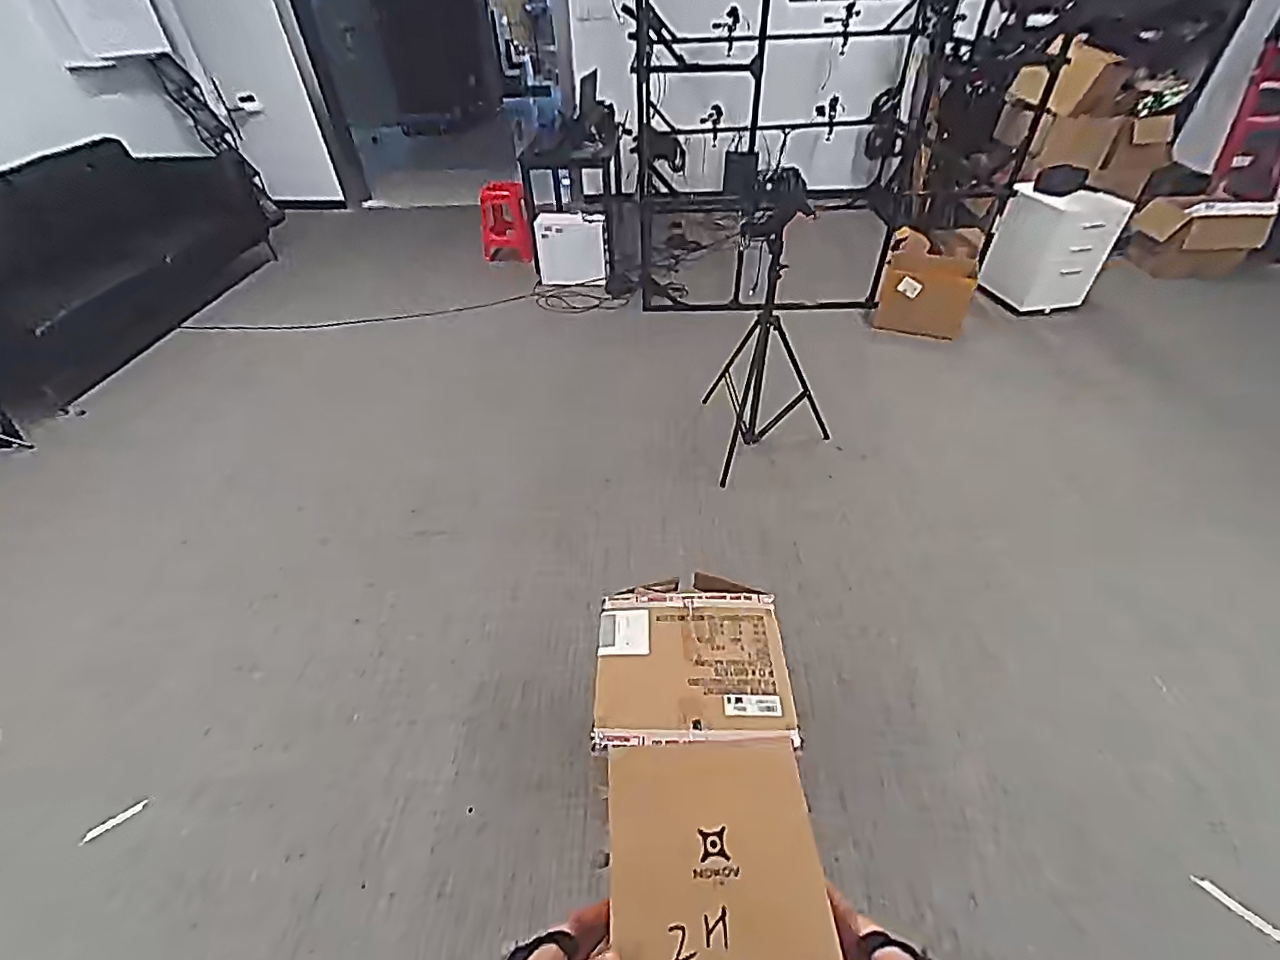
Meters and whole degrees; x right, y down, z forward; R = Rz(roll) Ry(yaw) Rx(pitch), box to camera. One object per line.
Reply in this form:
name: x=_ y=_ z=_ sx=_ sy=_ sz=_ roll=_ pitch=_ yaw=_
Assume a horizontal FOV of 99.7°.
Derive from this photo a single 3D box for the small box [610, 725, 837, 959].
small box: x=0.058 y=0.347 z=0.495 sx=0.168 sy=0.176 sz=0.179 roll=-3 pitch=46 yaw=0
